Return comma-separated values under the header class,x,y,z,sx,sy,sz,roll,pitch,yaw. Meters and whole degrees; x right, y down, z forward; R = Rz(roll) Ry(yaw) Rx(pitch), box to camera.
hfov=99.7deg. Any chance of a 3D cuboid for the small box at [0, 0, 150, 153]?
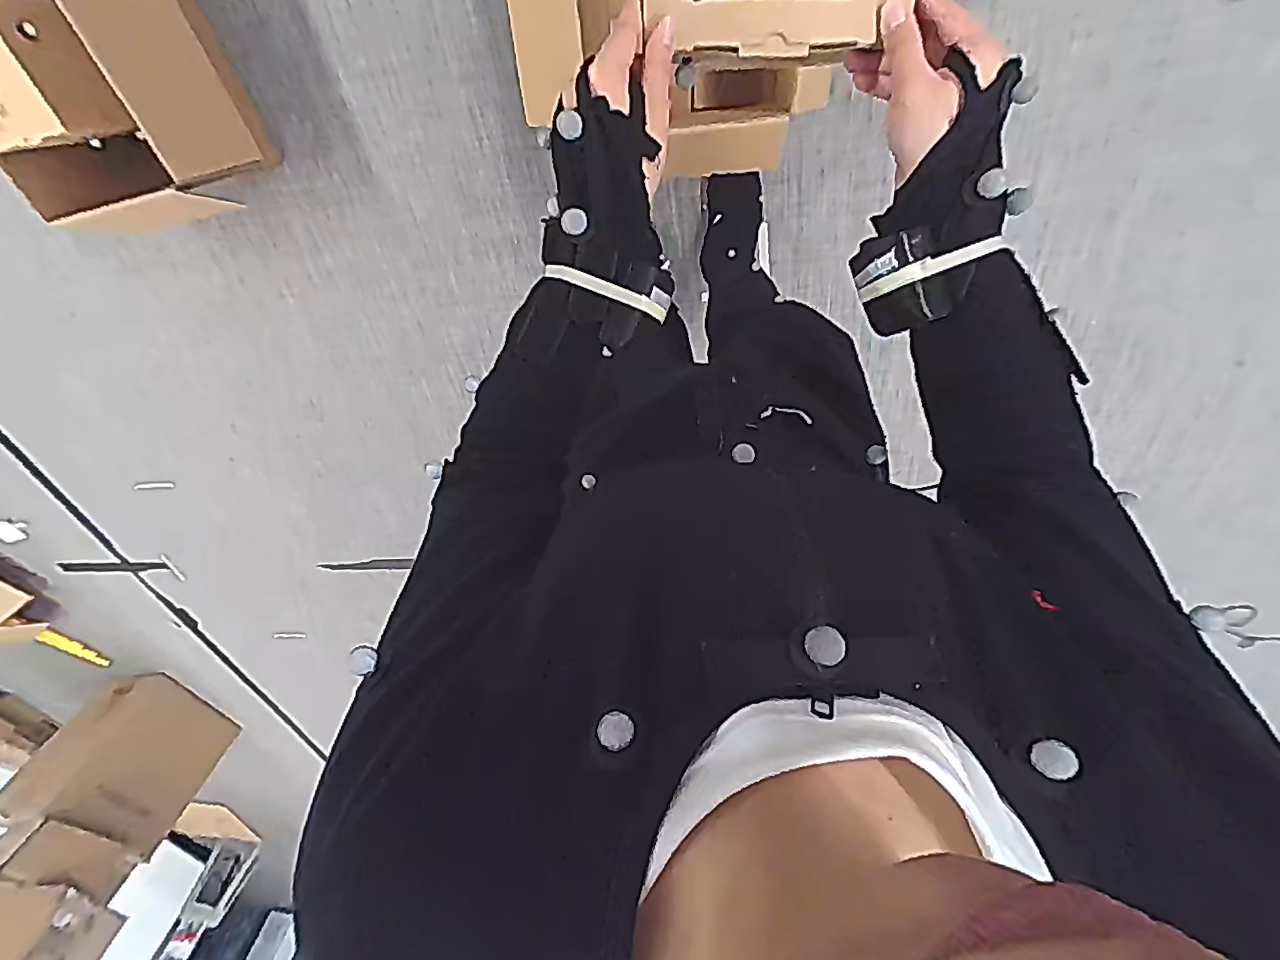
class,x,y,z,sx,sy,sz,roll,pitch,yaw
small box,-0.987,-0.659,0.886,0.168,0.176,0.179,-5,127,12
